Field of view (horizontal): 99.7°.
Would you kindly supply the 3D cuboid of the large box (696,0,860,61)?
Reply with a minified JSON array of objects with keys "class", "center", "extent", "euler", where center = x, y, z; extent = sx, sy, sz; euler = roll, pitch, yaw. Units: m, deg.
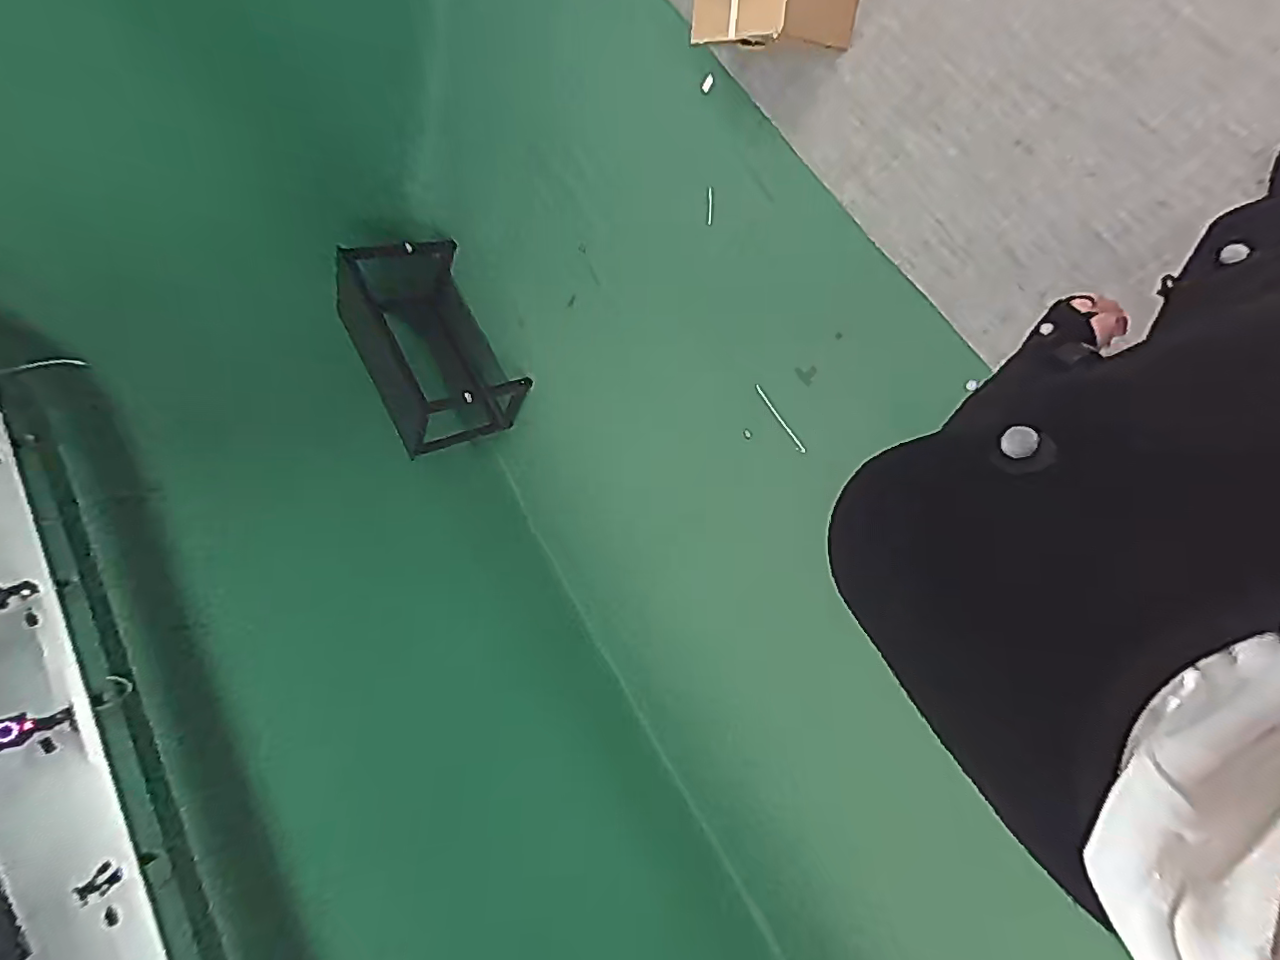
[{"class":"large box","center":[0.373,-1.353,1.389],"extent":[0.320,0.320,0.408],"euler":[34,134,40]}]
